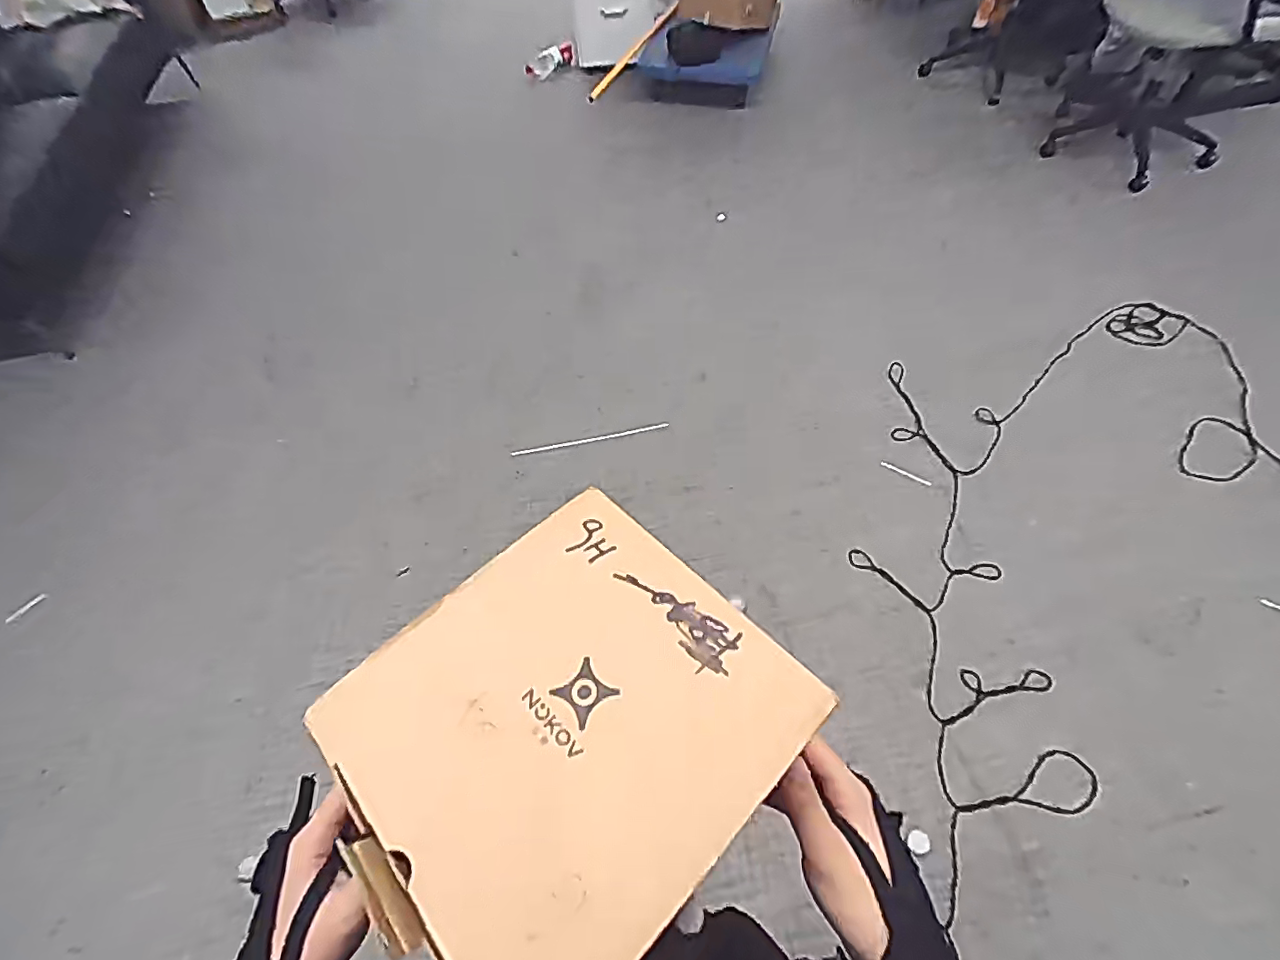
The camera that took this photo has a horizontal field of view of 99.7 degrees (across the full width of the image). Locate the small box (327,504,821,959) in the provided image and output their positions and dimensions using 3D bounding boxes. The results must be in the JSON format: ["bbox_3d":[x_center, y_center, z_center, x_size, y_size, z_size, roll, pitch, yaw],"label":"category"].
[{"bbox_3d":[-0.028,0.155,0.314,0.179,0.176,0.168,-39,61,-24],"label":"small box"}]
